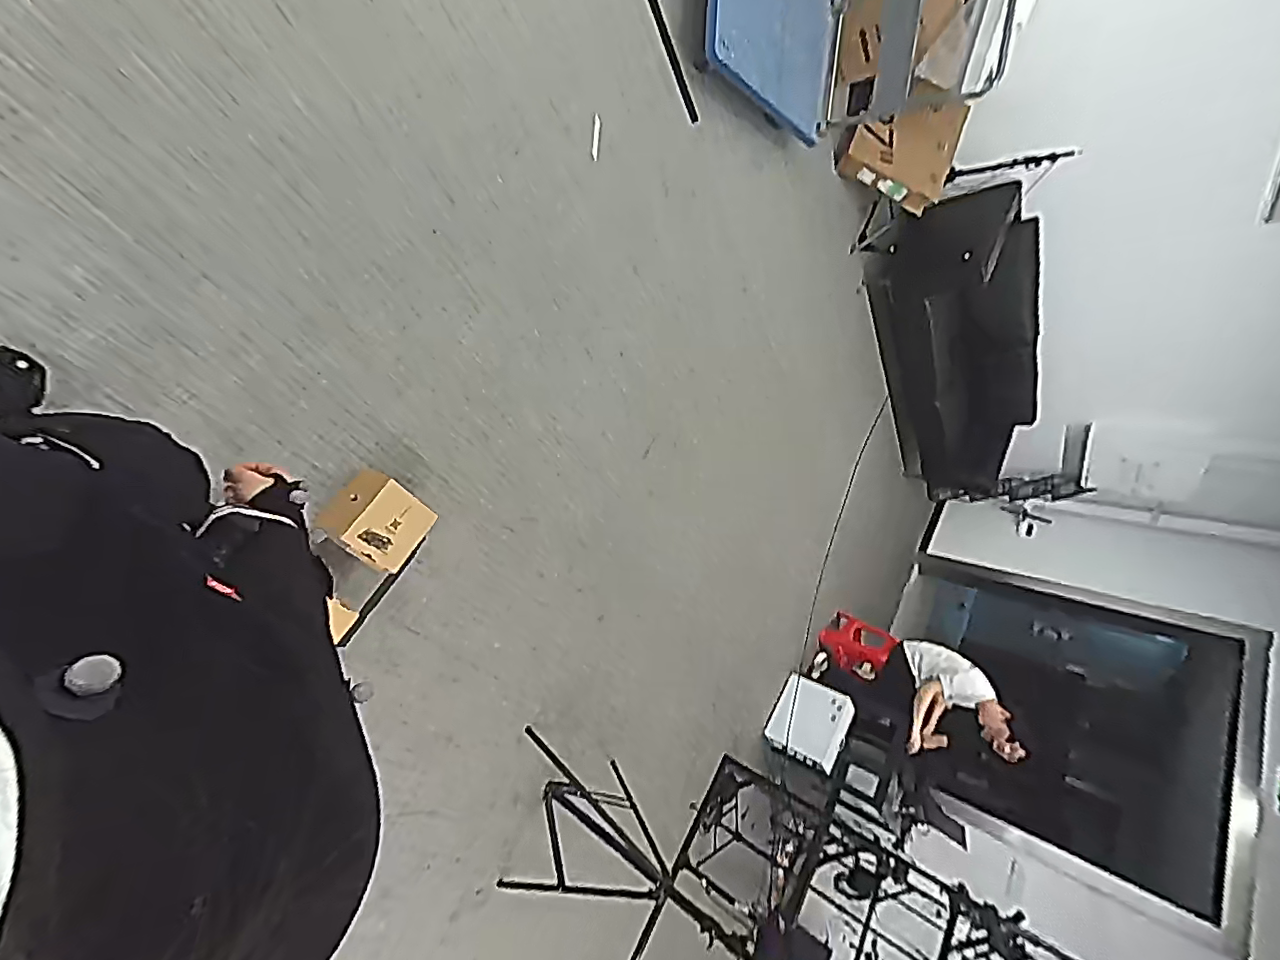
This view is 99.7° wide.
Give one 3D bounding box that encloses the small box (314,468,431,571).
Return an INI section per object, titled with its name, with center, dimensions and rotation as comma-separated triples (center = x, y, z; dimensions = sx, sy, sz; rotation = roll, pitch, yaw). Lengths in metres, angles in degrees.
[small box]
center = -0.666, 0.093, 1.334
dimensions = 0.179, 0.176, 0.168
rotation = -58, 136, -24
